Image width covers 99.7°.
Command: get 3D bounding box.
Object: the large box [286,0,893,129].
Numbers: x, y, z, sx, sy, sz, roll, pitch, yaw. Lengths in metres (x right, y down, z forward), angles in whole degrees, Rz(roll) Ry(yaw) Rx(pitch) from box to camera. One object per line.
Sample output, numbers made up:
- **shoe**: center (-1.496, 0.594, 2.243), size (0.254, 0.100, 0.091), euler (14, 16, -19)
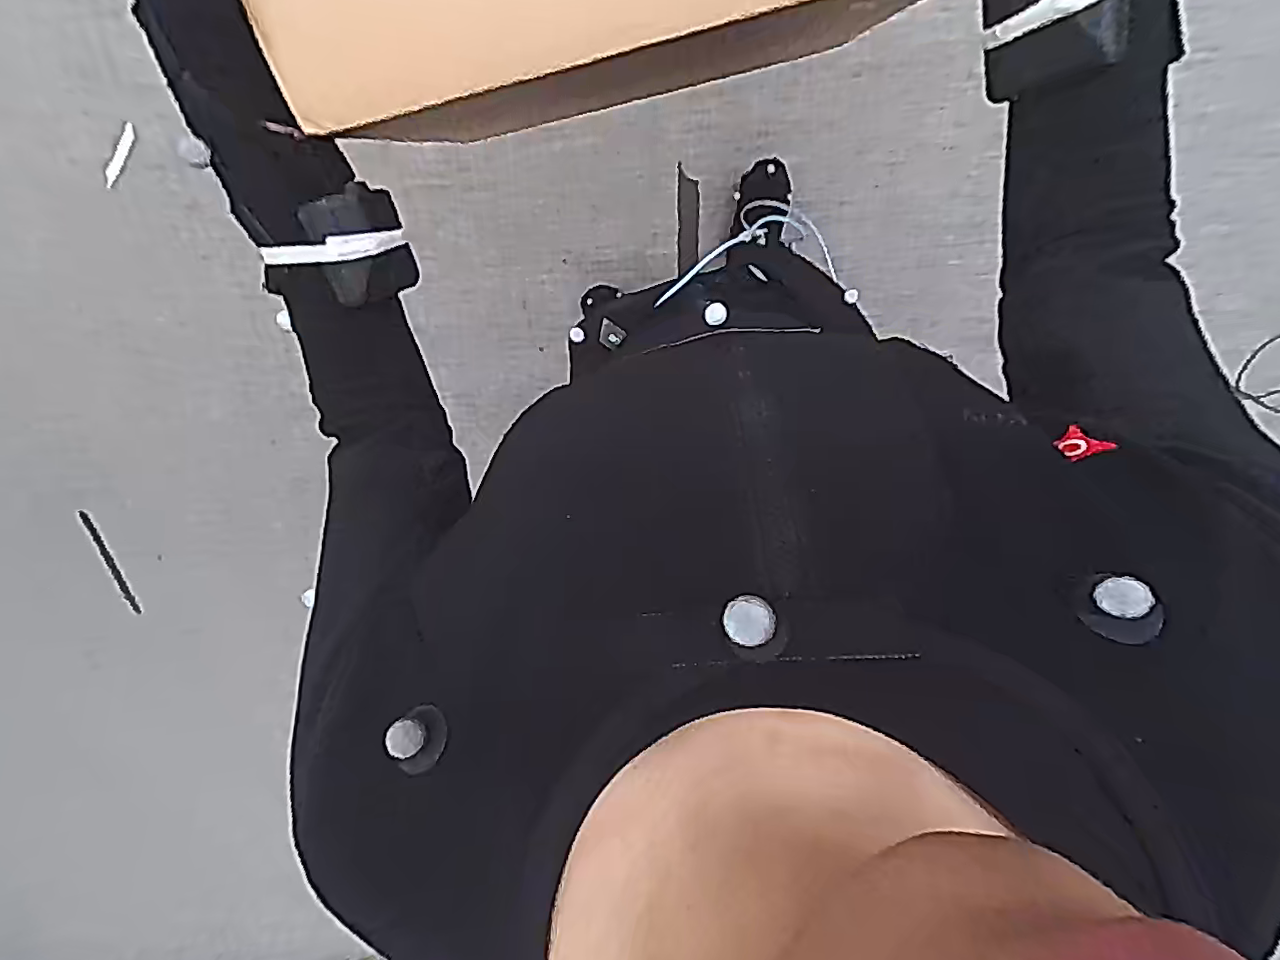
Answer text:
- **large box**: center (-0.020, -0.455, 0.345), size (0.408, 0.320, 0.320), euler (-10, 122, 6)
